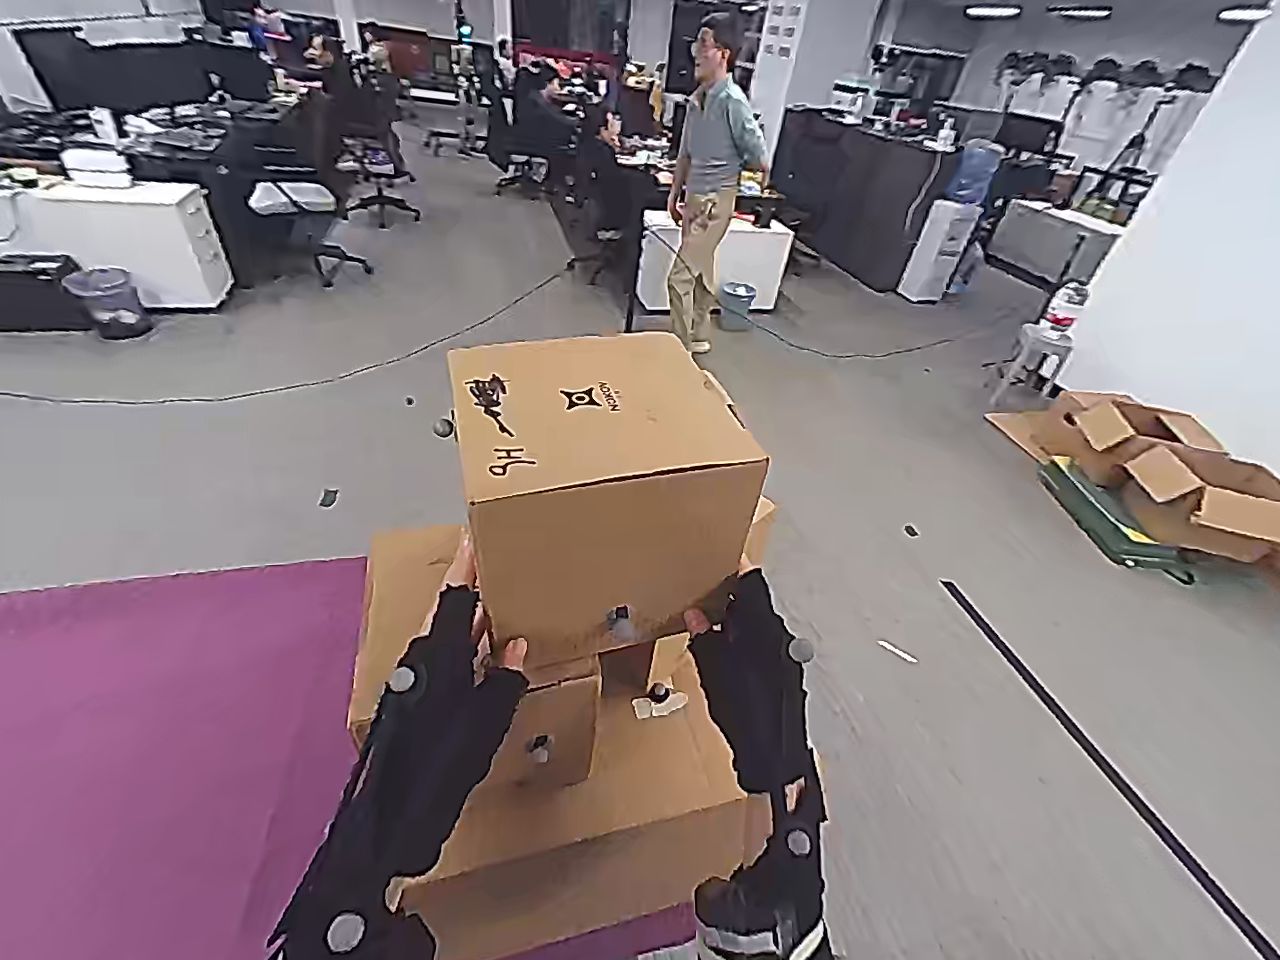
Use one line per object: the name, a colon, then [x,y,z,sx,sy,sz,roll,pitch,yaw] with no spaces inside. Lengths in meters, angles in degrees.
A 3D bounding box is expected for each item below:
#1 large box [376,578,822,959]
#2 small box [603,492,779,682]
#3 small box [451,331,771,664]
large box: [-0.069,0.318,0.660,0.408,0.320,0.320,-5,41,-16]
small box: [0.015,0.076,0.581,0.168,0.176,0.179,-28,49,-35]
small box: [-0.035,0.007,0.397,0.179,0.176,0.168,-8,42,-17]
